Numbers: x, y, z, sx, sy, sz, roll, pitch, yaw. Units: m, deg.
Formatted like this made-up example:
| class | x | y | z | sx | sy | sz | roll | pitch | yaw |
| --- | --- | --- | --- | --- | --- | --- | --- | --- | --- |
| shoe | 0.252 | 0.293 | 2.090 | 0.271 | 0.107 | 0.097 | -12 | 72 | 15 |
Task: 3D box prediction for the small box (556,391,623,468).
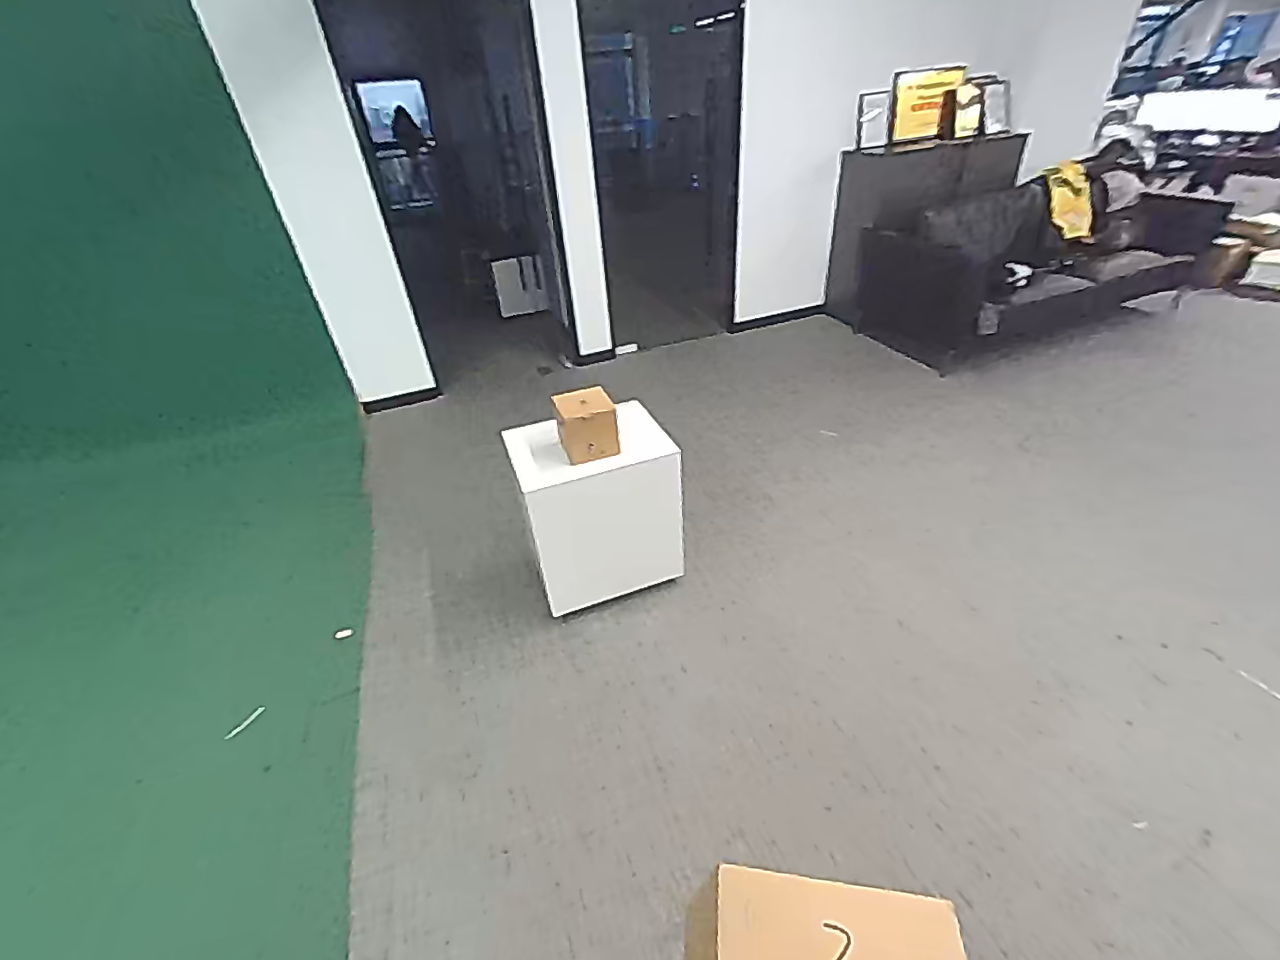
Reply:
| class | x | y | z | sx | sy | sz | roll | pitch | yaw |
| --- | --- | --- | --- | --- | --- | --- | --- | --- | --- |
| small box | -0.162 | -0.162 | 1.723 | 0.168 | 0.176 | 0.179 | -15 | 35 | -14 |
